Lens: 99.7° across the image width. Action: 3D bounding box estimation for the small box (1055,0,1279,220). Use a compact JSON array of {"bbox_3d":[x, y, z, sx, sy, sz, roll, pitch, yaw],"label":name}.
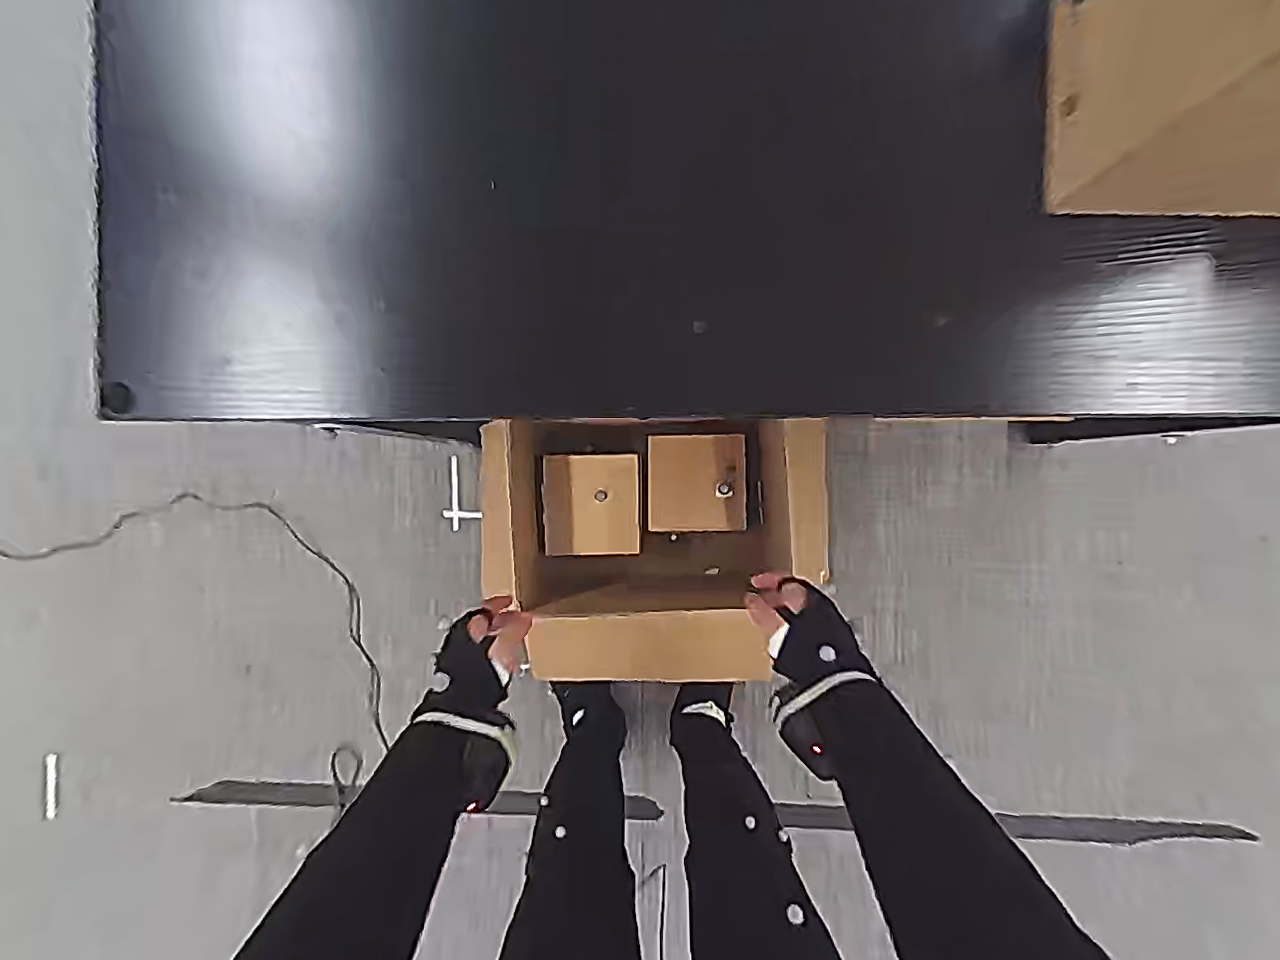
[{"bbox_3d":[0.360,-0.255,0.280,0.179,0.176,0.168,2,90,1],"label":"small box"}]
